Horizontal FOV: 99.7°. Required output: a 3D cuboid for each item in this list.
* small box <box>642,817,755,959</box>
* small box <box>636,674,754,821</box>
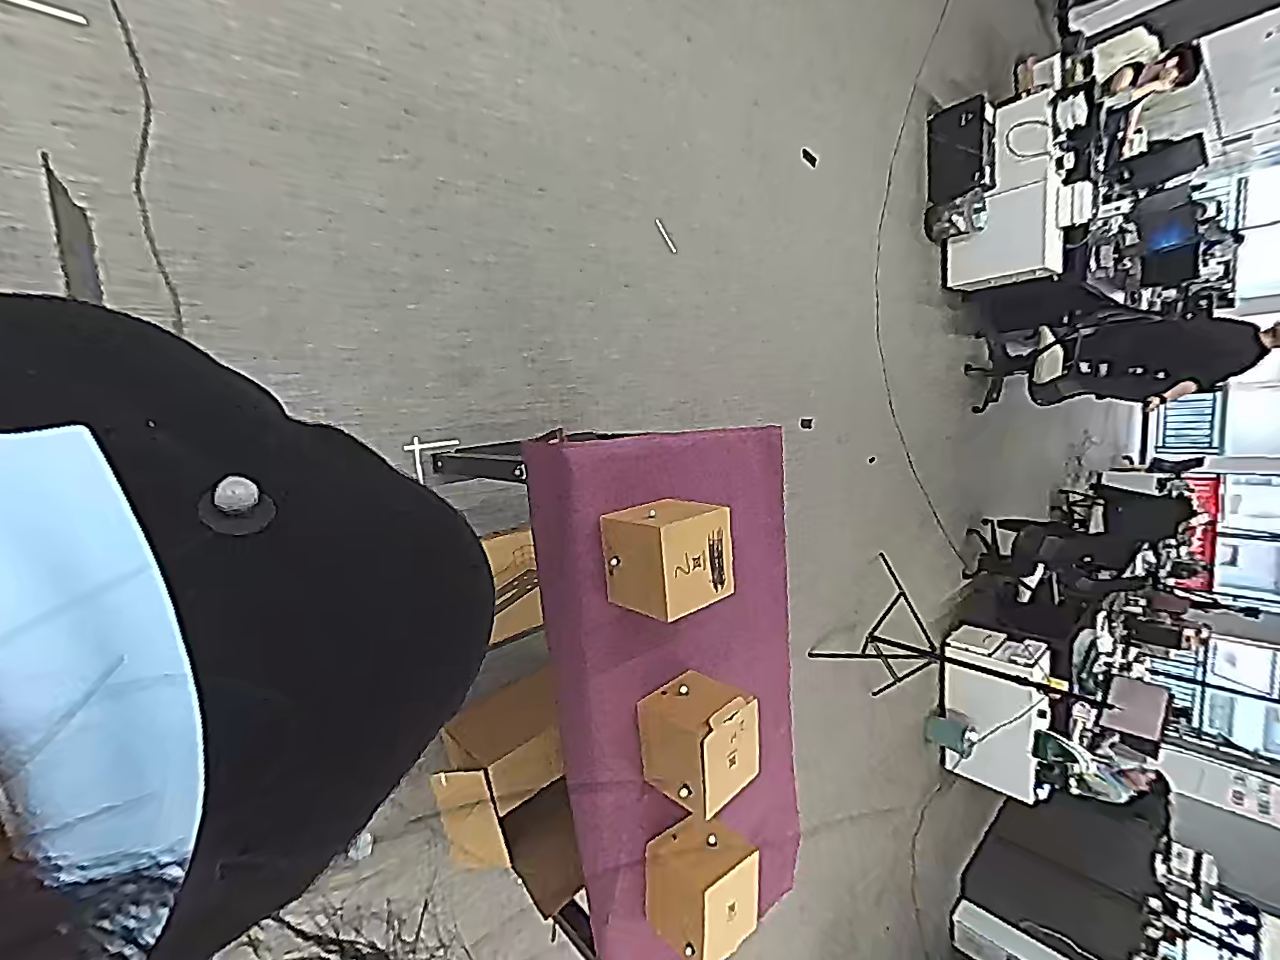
[{"bbox_3d":[0.118,0.837,1.114,0.168,0.176,0.179,-3,96,-41],"label":"small box"},{"bbox_3d":[0.109,0.521,1.080,0.168,0.176,0.179,-14,102,-43],"label":"small box"}]
